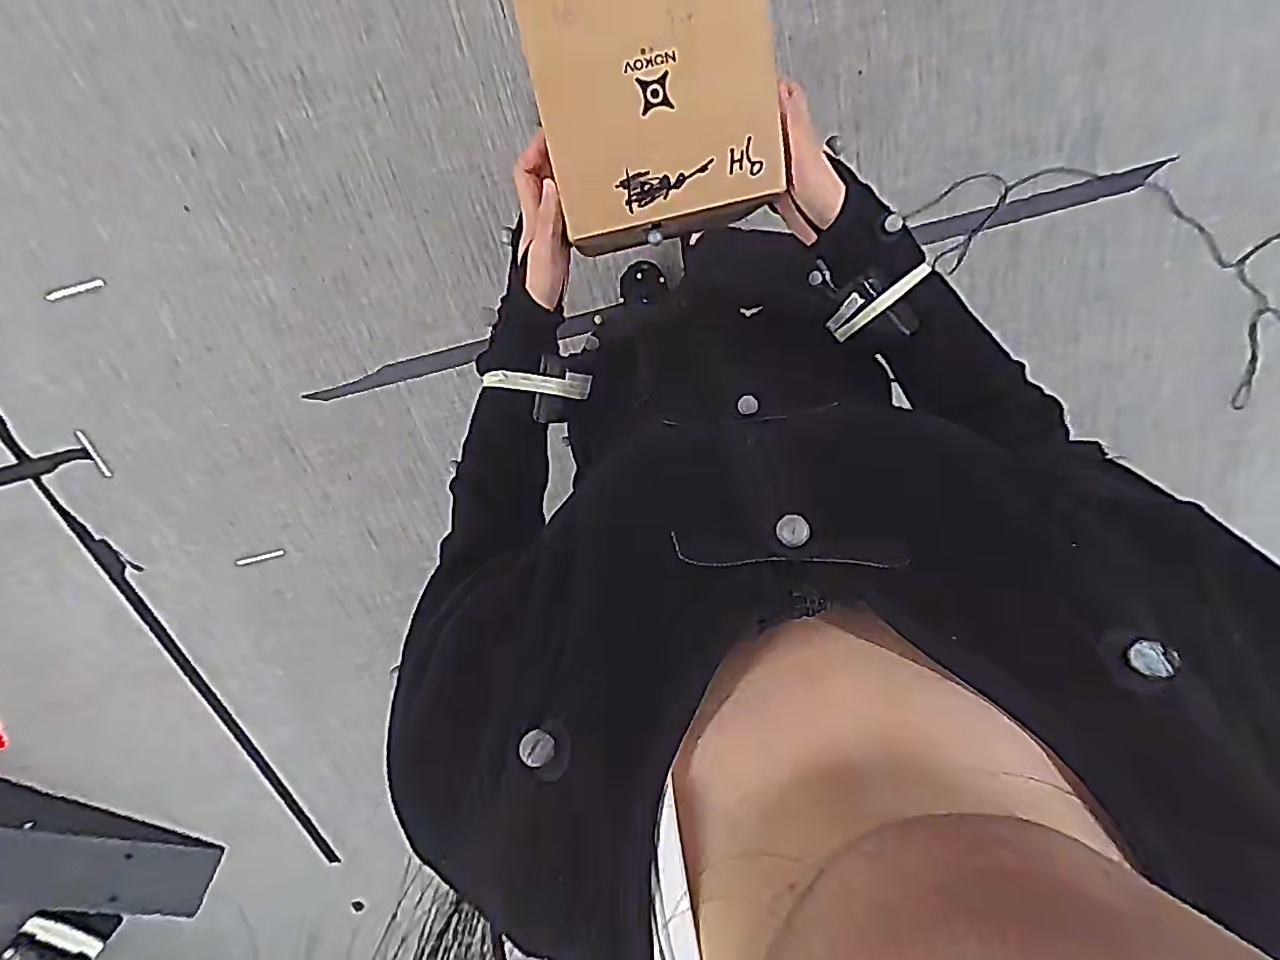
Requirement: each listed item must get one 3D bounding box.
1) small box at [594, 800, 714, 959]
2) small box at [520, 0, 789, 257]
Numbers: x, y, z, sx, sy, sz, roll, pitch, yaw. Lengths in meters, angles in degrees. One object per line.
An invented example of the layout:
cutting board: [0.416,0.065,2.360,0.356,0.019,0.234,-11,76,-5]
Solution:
small box: [0.025,0.718,0.975,0.179,0.176,0.168,-13,113,3]
small box: [0.008,-0.297,0.444,0.168,0.176,0.179,-13,108,2]
